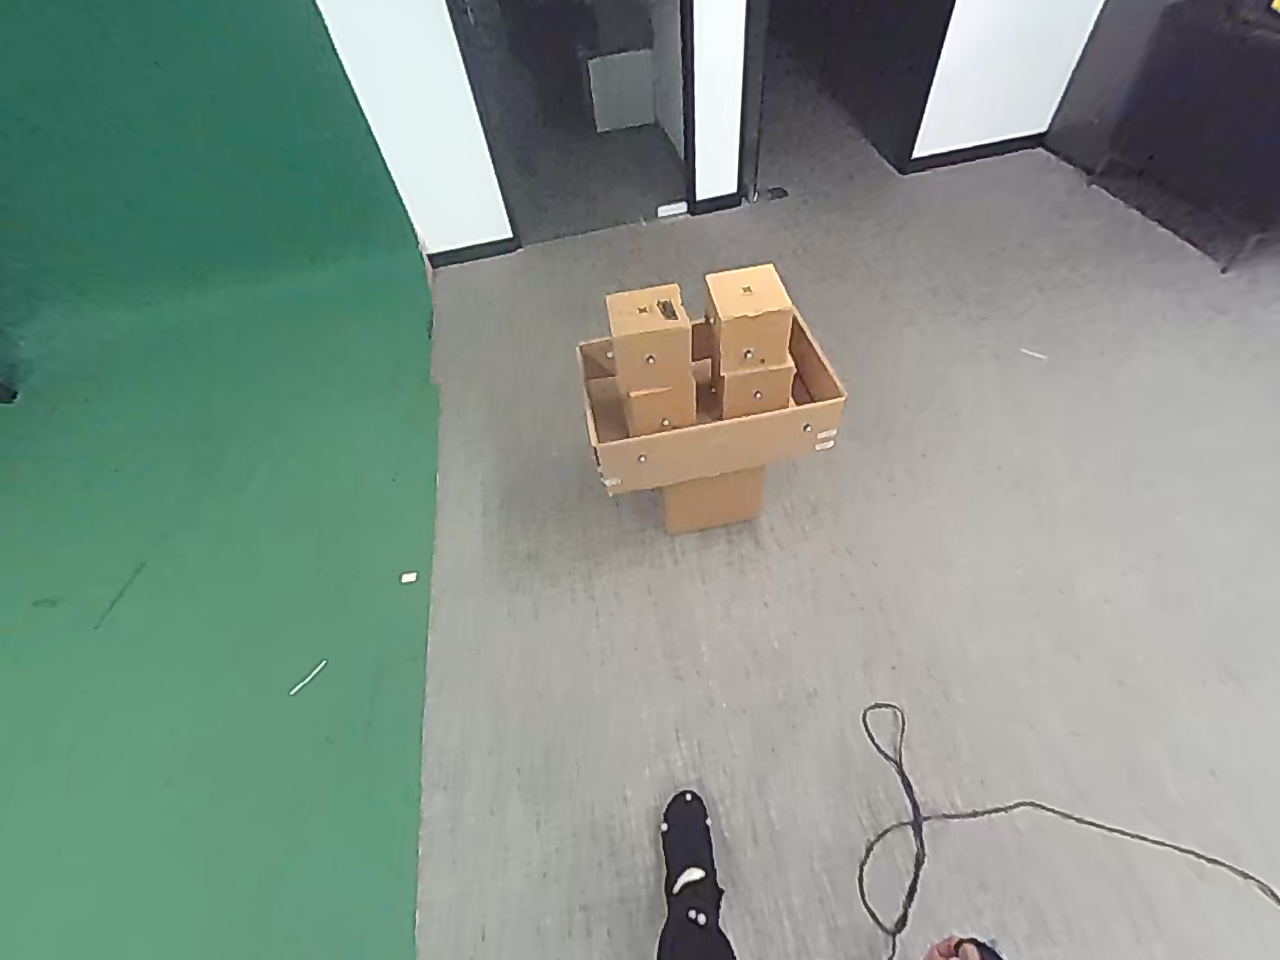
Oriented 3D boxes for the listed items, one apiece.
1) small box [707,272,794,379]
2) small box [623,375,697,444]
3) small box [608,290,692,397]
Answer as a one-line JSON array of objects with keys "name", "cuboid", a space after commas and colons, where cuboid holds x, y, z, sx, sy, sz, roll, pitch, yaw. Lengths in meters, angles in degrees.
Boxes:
[{"name": "small box", "cuboid": [0.256, -0.371, 1.302, 0.168, 0.176, 0.179, -9, 52, 0]}, {"name": "small box", "cuboid": [0.045, -0.223, 1.417, 0.168, 0.176, 0.179, -14, 52, -5]}, {"name": "small box", "cuboid": [0.026, -0.321, 1.286, 0.179, 0.176, 0.168, -9, 51, 1]}]
